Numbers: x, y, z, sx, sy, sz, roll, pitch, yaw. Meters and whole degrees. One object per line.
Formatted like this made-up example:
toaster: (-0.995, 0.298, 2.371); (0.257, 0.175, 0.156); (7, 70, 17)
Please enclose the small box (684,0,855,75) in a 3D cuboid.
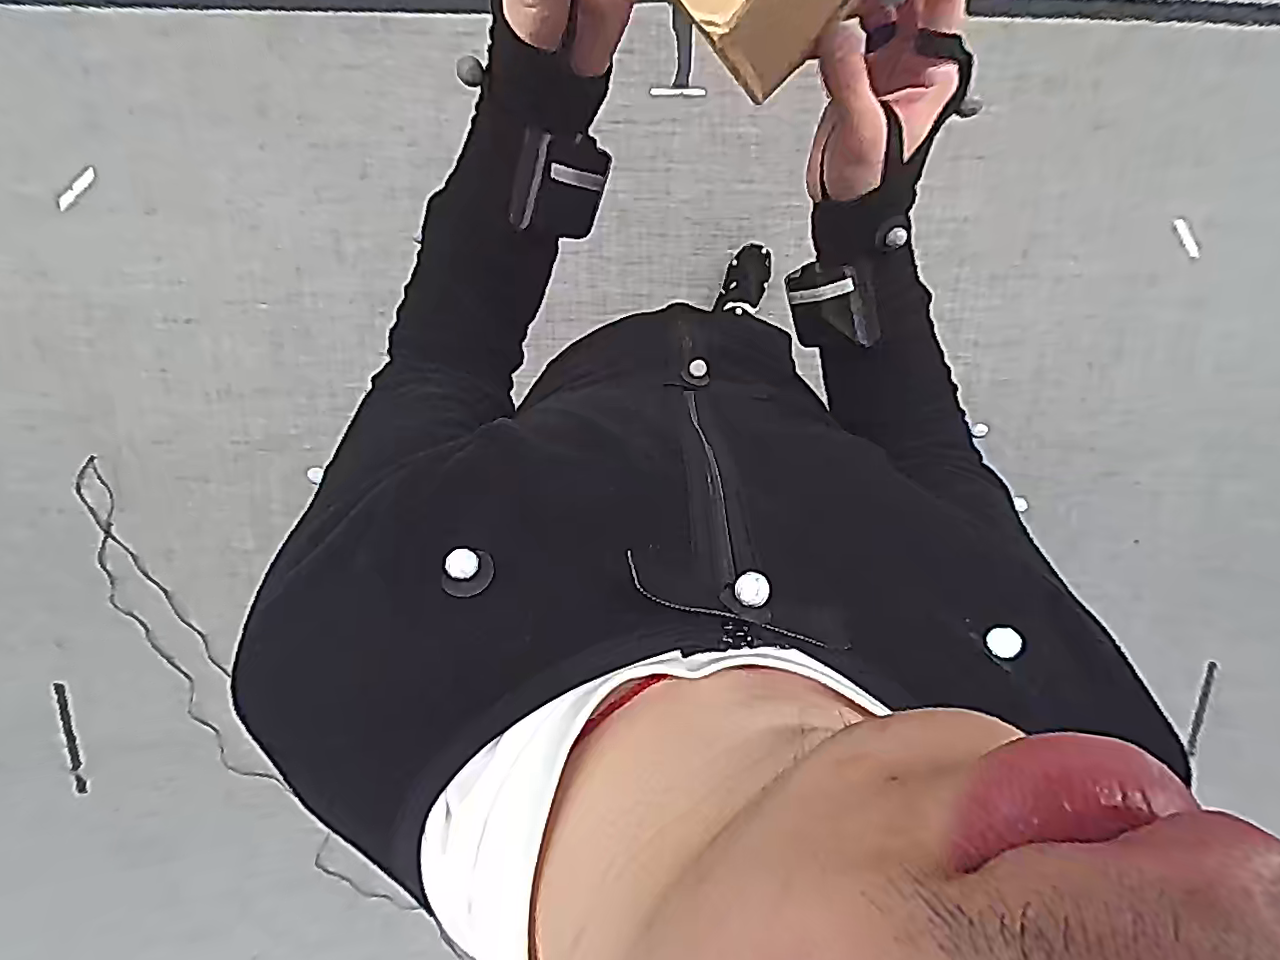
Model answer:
small box: (0.046, -0.285, 0.187); (0.179, 0.176, 0.168); (45, 122, -10)
